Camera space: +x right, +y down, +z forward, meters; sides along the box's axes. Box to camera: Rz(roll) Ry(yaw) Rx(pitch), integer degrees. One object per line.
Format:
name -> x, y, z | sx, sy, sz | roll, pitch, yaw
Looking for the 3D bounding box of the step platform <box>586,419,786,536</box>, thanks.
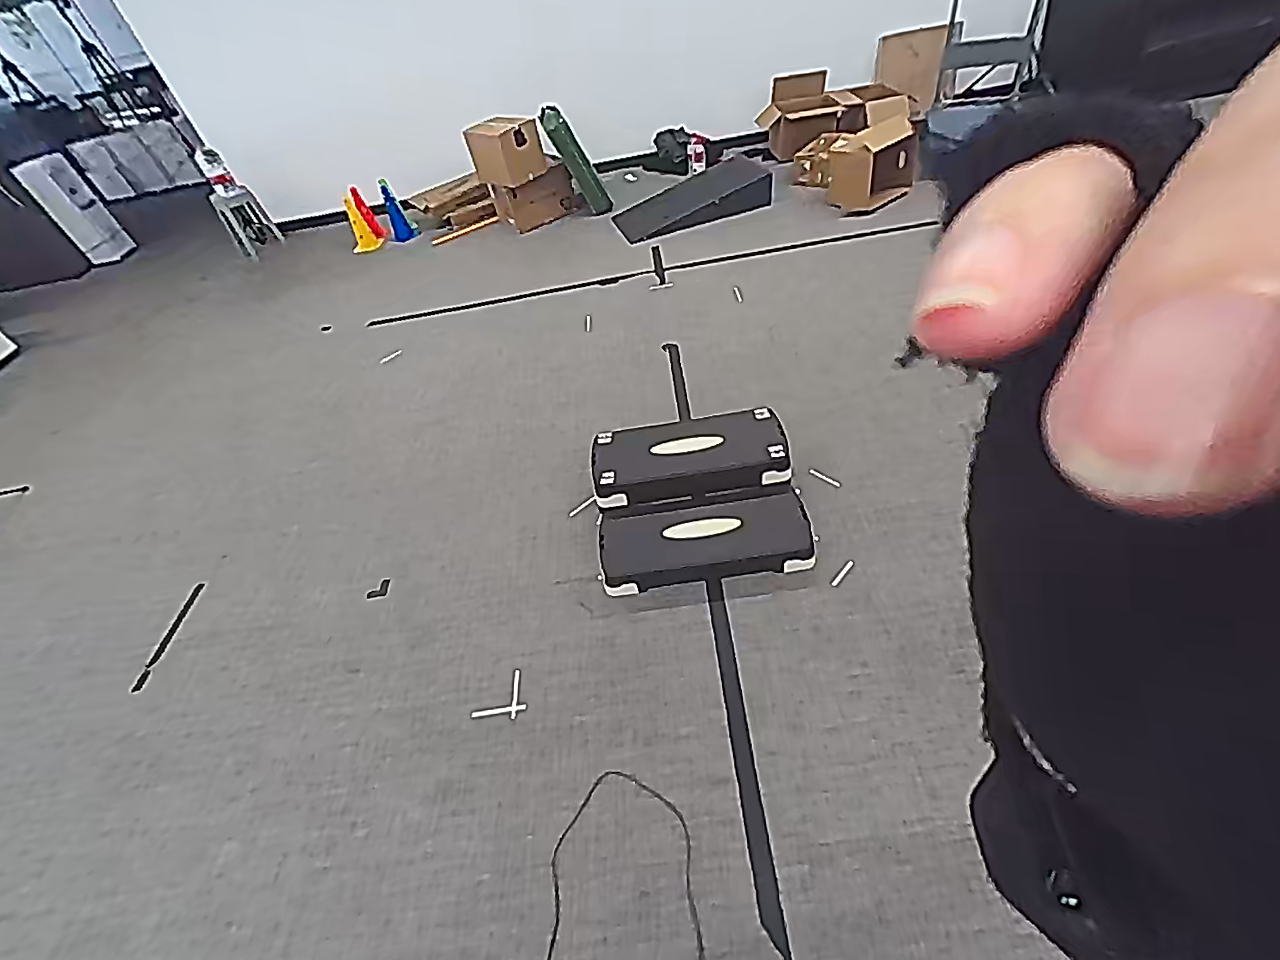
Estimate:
step platform -> 0.154, -0.014, 1.895 | 0.684, 0.204, 0.286 | -9, 46, 2
